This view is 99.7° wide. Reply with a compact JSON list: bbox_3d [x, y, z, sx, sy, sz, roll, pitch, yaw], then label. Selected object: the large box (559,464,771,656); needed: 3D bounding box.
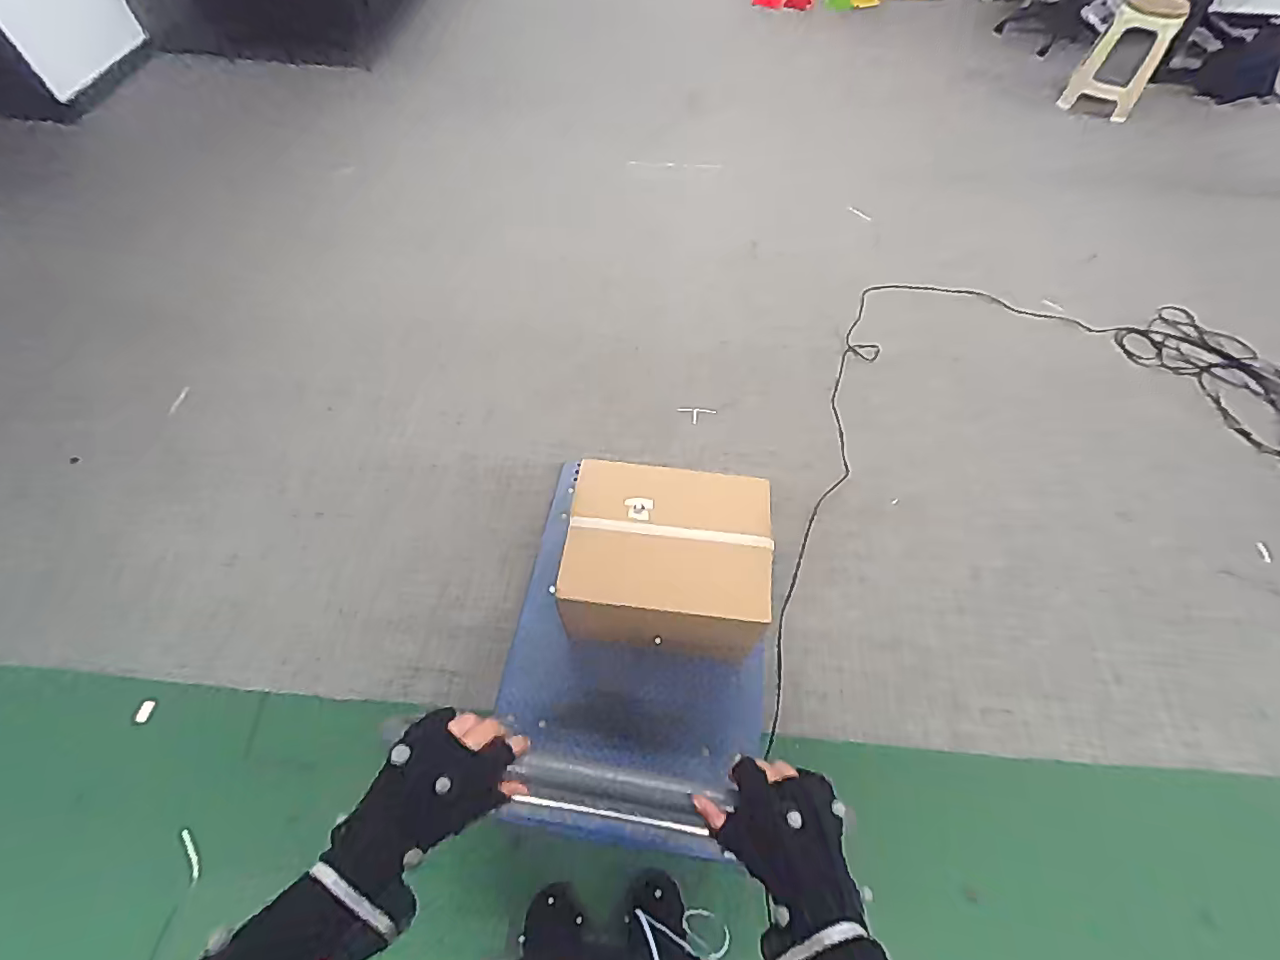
[{"bbox_3d":[0.059,0.188,1.207,0.408,0.320,0.320,6,58,3],"label":"large box"}]
